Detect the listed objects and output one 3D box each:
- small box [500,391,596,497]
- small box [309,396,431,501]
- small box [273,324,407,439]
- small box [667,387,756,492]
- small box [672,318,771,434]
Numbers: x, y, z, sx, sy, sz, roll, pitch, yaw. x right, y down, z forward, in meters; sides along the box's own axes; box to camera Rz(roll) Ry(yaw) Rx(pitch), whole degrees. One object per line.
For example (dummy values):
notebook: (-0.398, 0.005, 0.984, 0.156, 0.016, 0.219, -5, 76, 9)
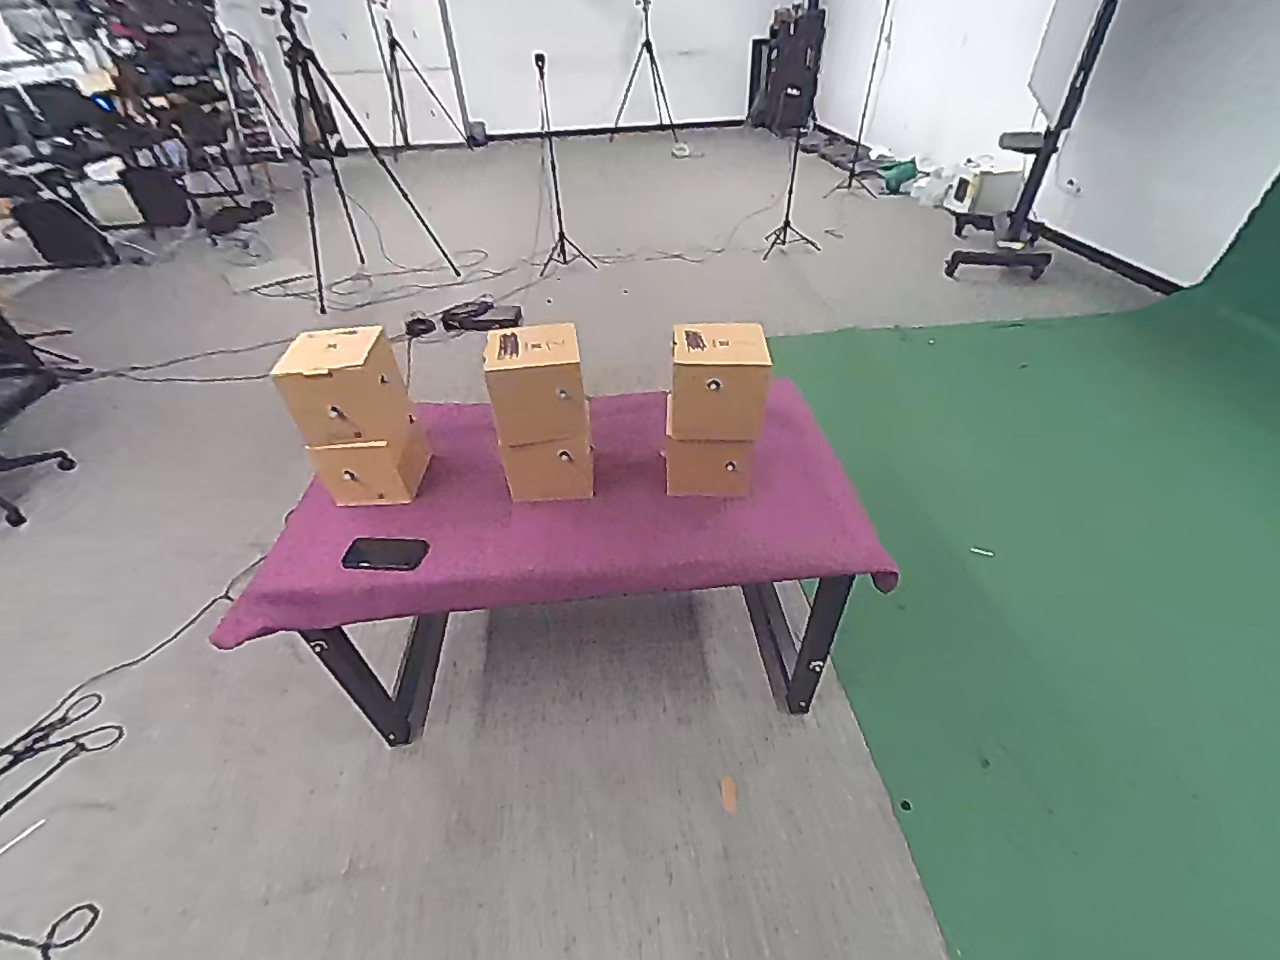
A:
small box: (-0.191, -0.077, 1.180, 0.179, 0.176, 0.168, -4, 41, 0)
small box: (-0.582, -0.065, 1.194, 0.168, 0.176, 0.179, -3, 41, 0)
small box: (-0.589, -0.194, 1.092, 0.168, 0.176, 0.179, -6, 42, -4)
small box: (0.149, -0.088, 1.172, 0.179, 0.176, 0.168, 0, 41, 5)
small box: (0.151, -0.201, 1.054, 0.179, 0.176, 0.168, 1, 41, 4)
